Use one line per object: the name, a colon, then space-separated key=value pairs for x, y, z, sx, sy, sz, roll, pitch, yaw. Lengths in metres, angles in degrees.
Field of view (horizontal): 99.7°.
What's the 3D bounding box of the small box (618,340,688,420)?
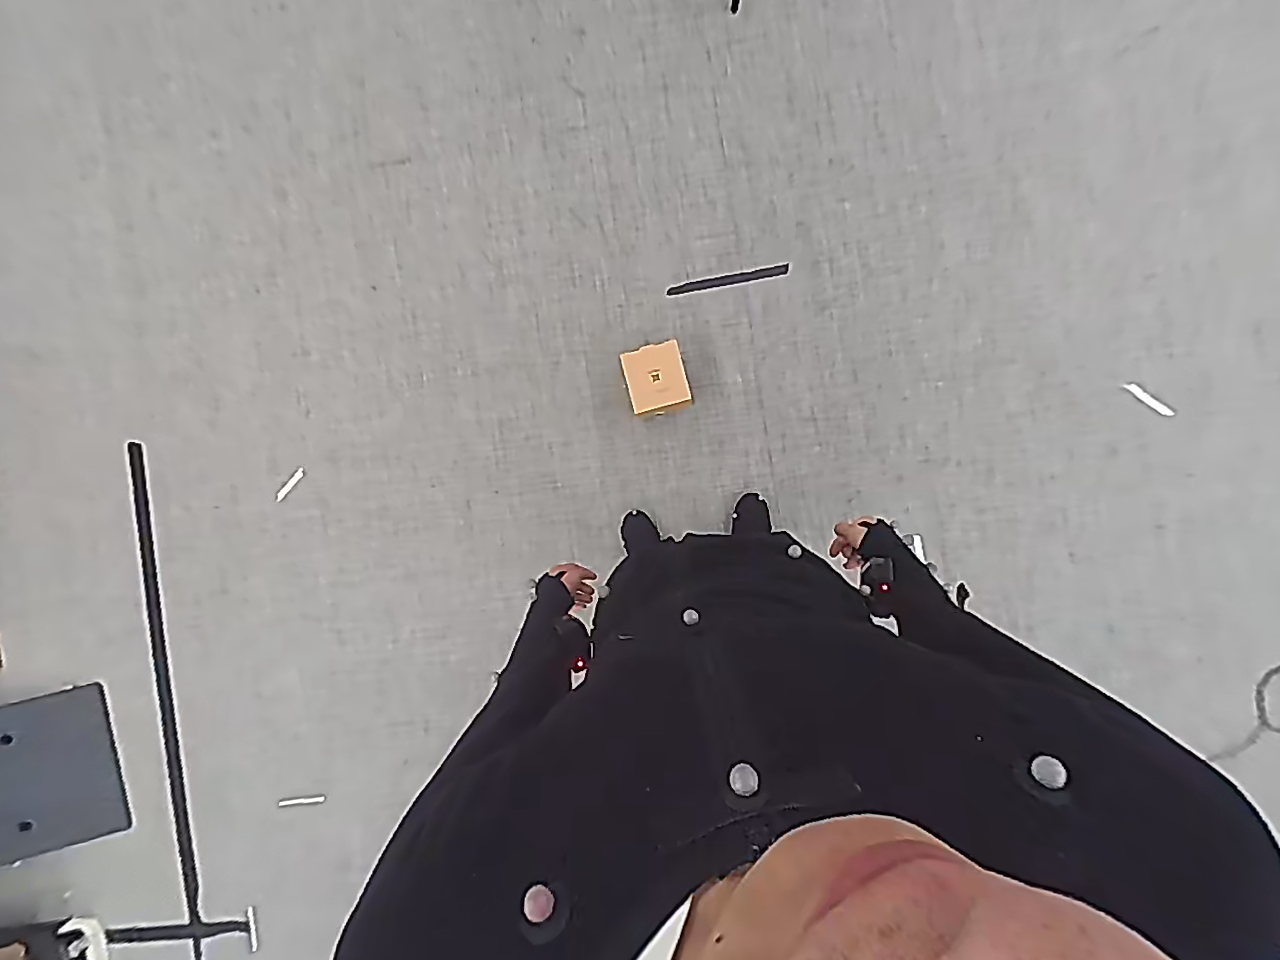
small box: x=0.040 y=-0.286 z=1.581 sx=0.168 sy=0.176 sz=0.179 roll=-14 pitch=89 yaw=4
